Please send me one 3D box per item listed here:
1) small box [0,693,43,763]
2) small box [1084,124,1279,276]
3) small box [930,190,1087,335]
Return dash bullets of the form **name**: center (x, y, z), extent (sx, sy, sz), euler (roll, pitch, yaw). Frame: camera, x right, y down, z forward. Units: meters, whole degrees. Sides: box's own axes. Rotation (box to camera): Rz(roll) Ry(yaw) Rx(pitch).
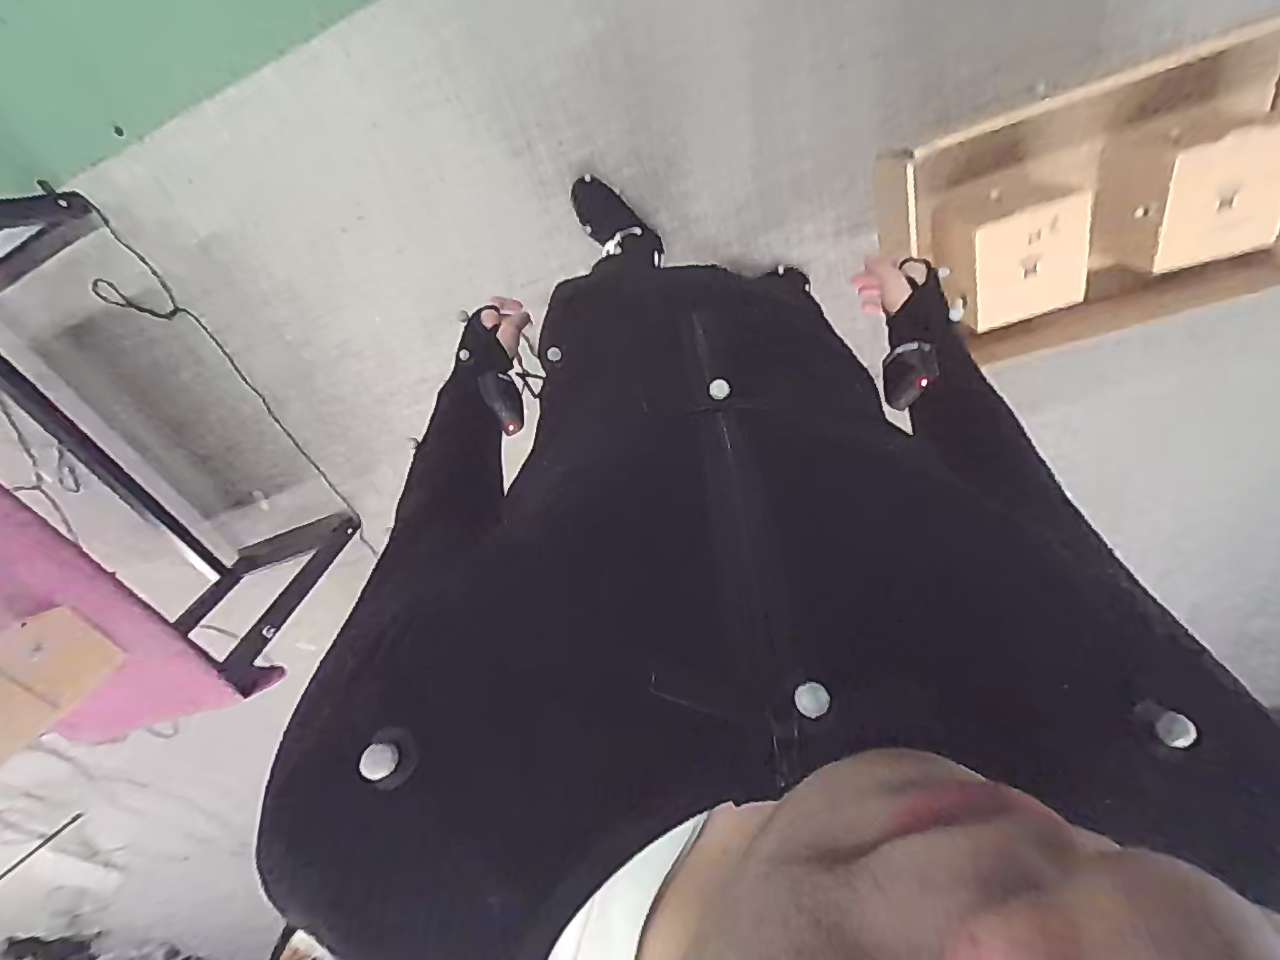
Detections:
- **small box**: center (-1.328, 0.495, 1.019), extent (0.168, 0.176, 0.179), euler (-20, 120, 14)
- **small box**: center (0.877, -0.459, 0.886), extent (0.168, 0.176, 0.179), euler (-12, 122, 10)
- **small box**: center (0.627, -0.382, 0.941), extent (0.168, 0.176, 0.179), euler (-16, 120, 11)
